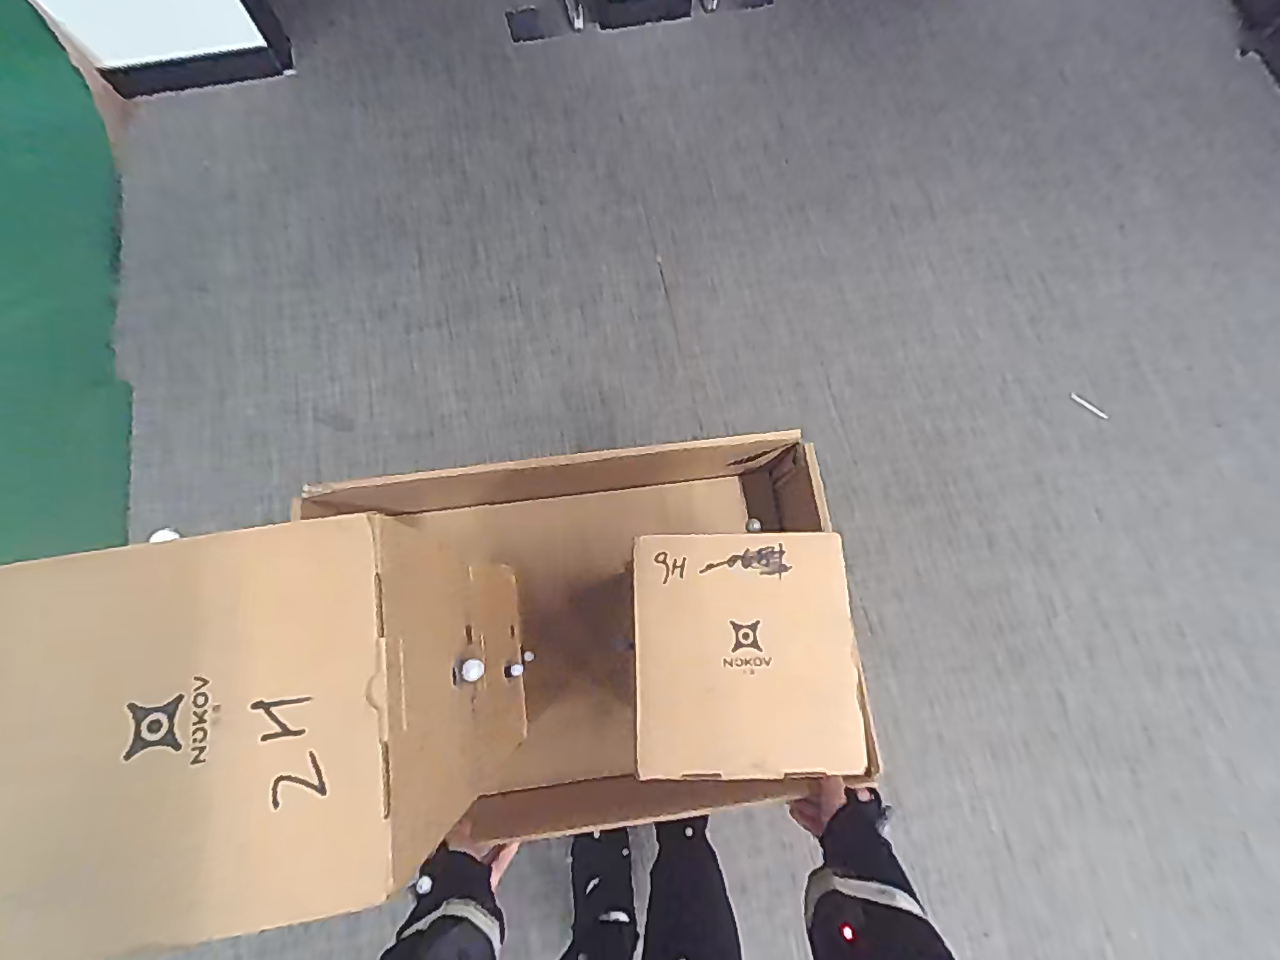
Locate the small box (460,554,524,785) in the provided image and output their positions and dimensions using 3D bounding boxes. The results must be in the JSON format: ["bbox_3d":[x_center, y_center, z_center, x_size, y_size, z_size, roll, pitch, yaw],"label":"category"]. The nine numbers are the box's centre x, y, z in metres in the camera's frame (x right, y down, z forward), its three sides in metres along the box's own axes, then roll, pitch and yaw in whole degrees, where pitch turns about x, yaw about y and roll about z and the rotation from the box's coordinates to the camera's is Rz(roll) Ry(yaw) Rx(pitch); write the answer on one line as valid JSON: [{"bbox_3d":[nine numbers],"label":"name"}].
[{"bbox_3d":[-0.208,0.166,0.473,0.179,0.176,0.168,-7,76,-5],"label":"small box"}]

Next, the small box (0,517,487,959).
[{"bbox_3d":[-0.200,0.126,0.313,0.179,0.176,0.168,-7,76,-5],"label":"small box"}]
